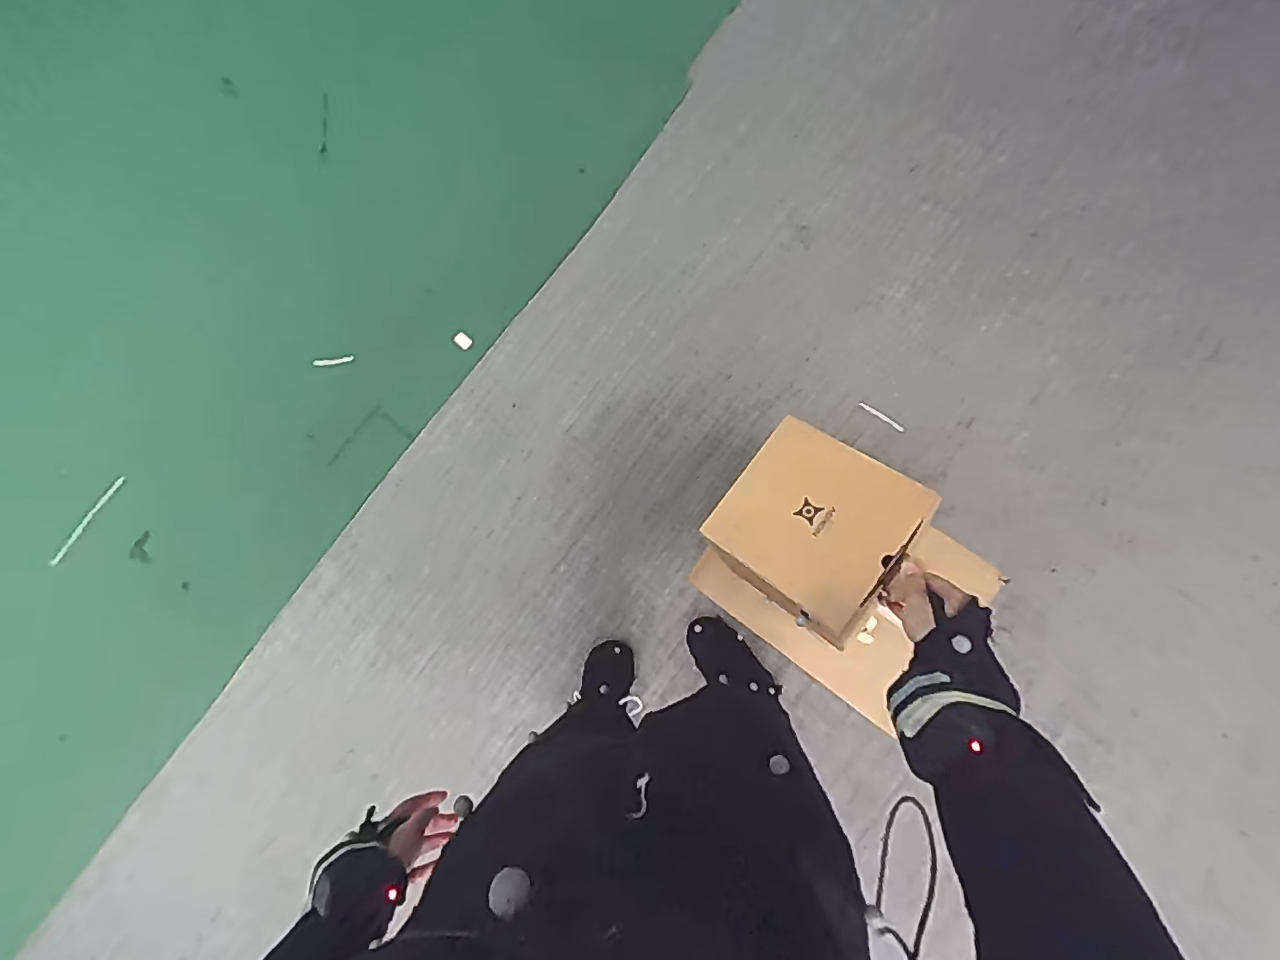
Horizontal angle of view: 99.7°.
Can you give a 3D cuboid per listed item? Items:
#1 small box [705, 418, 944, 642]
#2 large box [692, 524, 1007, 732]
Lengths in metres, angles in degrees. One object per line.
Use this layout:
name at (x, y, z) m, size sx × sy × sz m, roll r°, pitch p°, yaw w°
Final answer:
small box at (0.204, 0.066, 0.615) m, size 0.179 × 0.176 × 0.168 m, roll 35°, pitch 83°, yaw 29°
large box at (0.350, 0.182, 1.025) m, size 0.408 × 0.320 × 0.320 m, roll 36°, pitch 89°, yaw 12°
